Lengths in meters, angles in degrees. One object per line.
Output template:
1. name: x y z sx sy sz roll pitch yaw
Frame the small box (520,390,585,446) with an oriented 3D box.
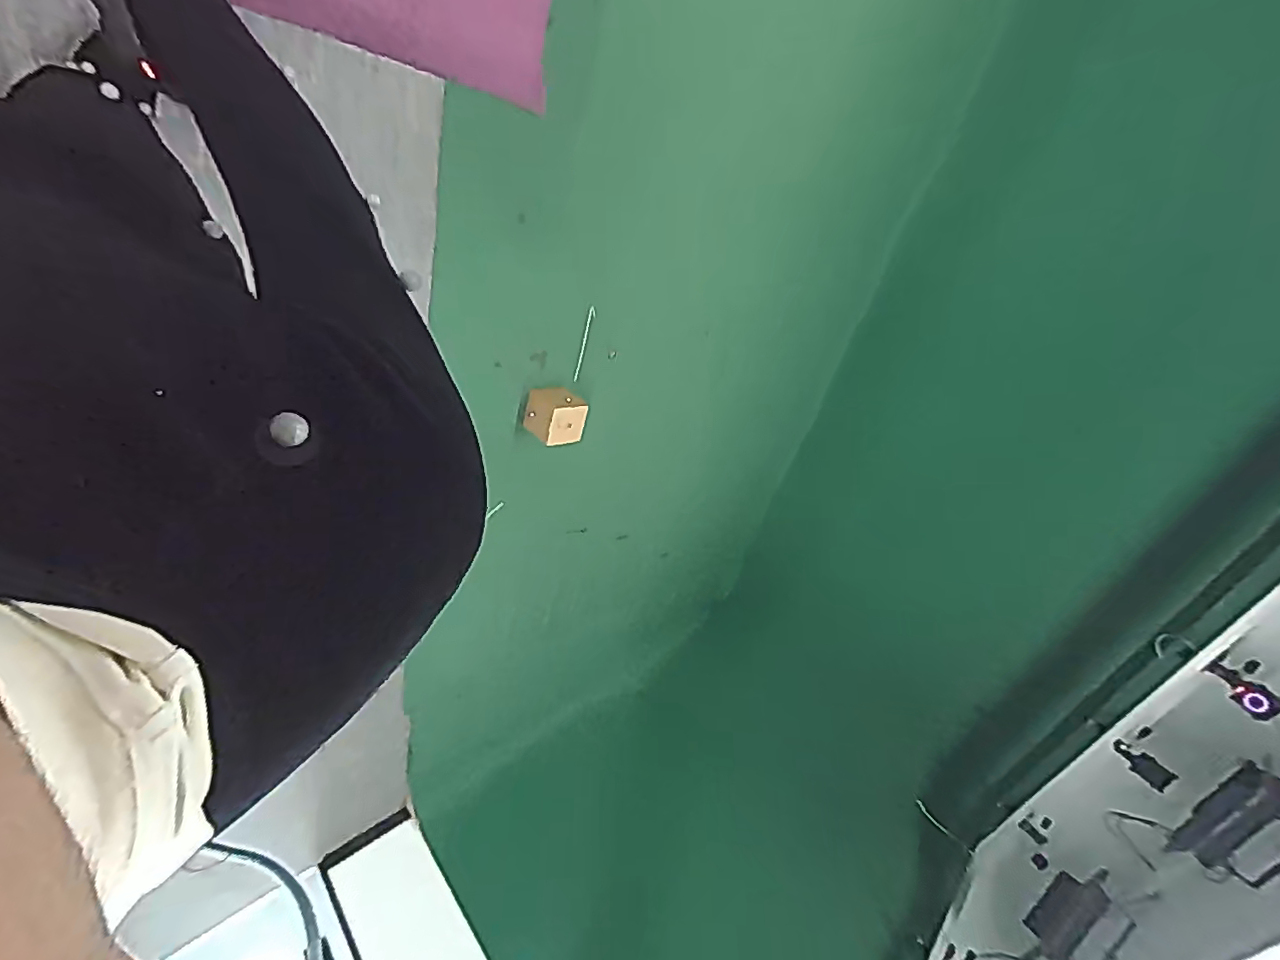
1. small box: -0.355 -0.257 2.185 0.179 0.176 0.168 -14 132 -45
